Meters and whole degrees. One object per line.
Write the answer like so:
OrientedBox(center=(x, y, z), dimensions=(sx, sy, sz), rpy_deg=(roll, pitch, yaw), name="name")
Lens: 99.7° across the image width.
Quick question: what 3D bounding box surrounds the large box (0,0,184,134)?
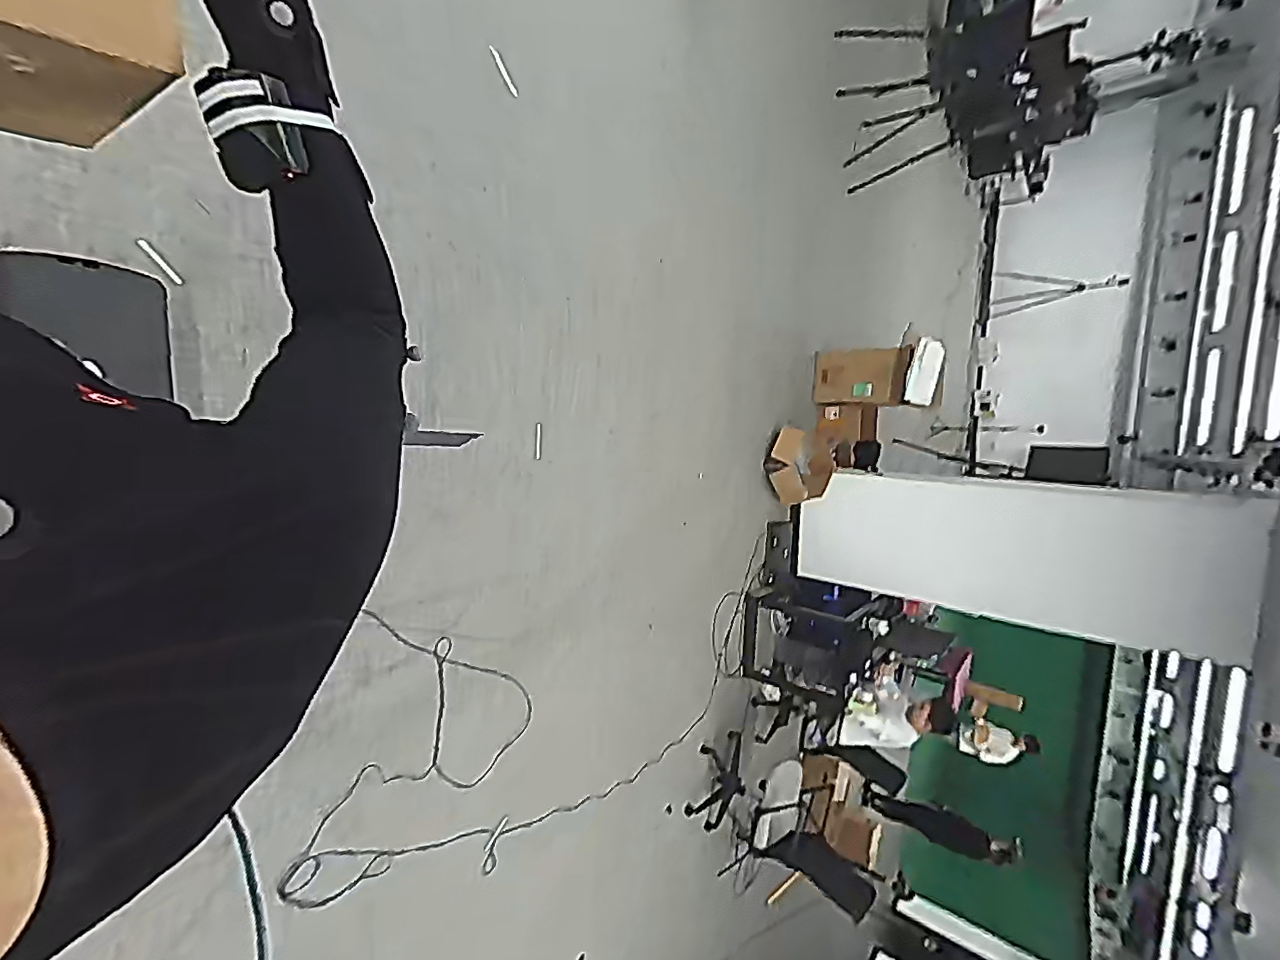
OrientedBox(center=(-0.531, -0.415, 0.249), dimensions=(0.408, 0.320, 0.320), rpy_deg=(-15, 115, -52), name="large box")
